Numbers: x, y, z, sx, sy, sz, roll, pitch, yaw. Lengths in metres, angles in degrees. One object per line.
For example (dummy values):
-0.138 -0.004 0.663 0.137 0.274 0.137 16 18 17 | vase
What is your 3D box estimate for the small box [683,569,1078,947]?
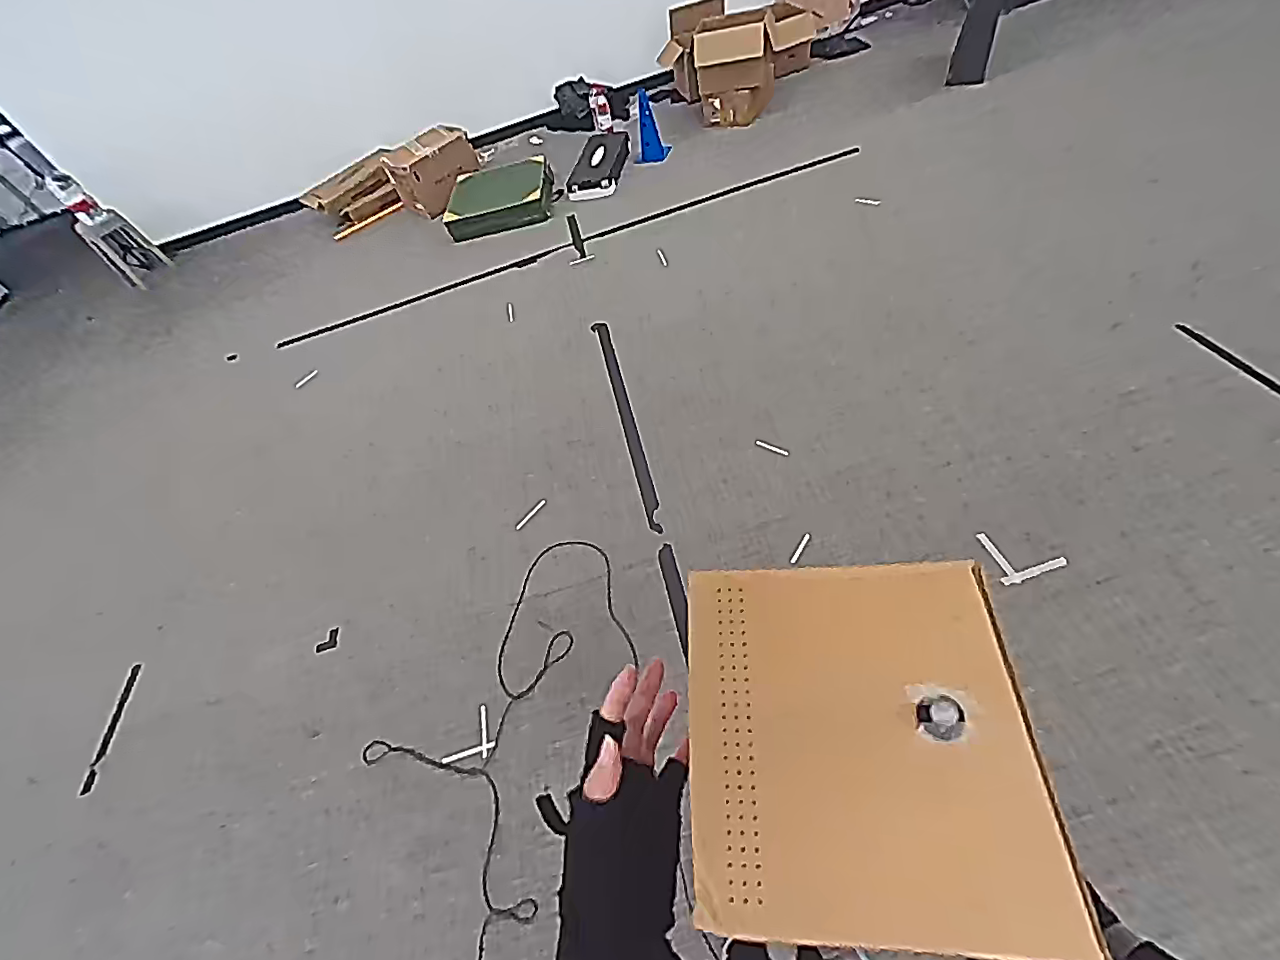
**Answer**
0.119 0.173 0.349 0.176 0.168 0.179 -5 56 11 | small box
